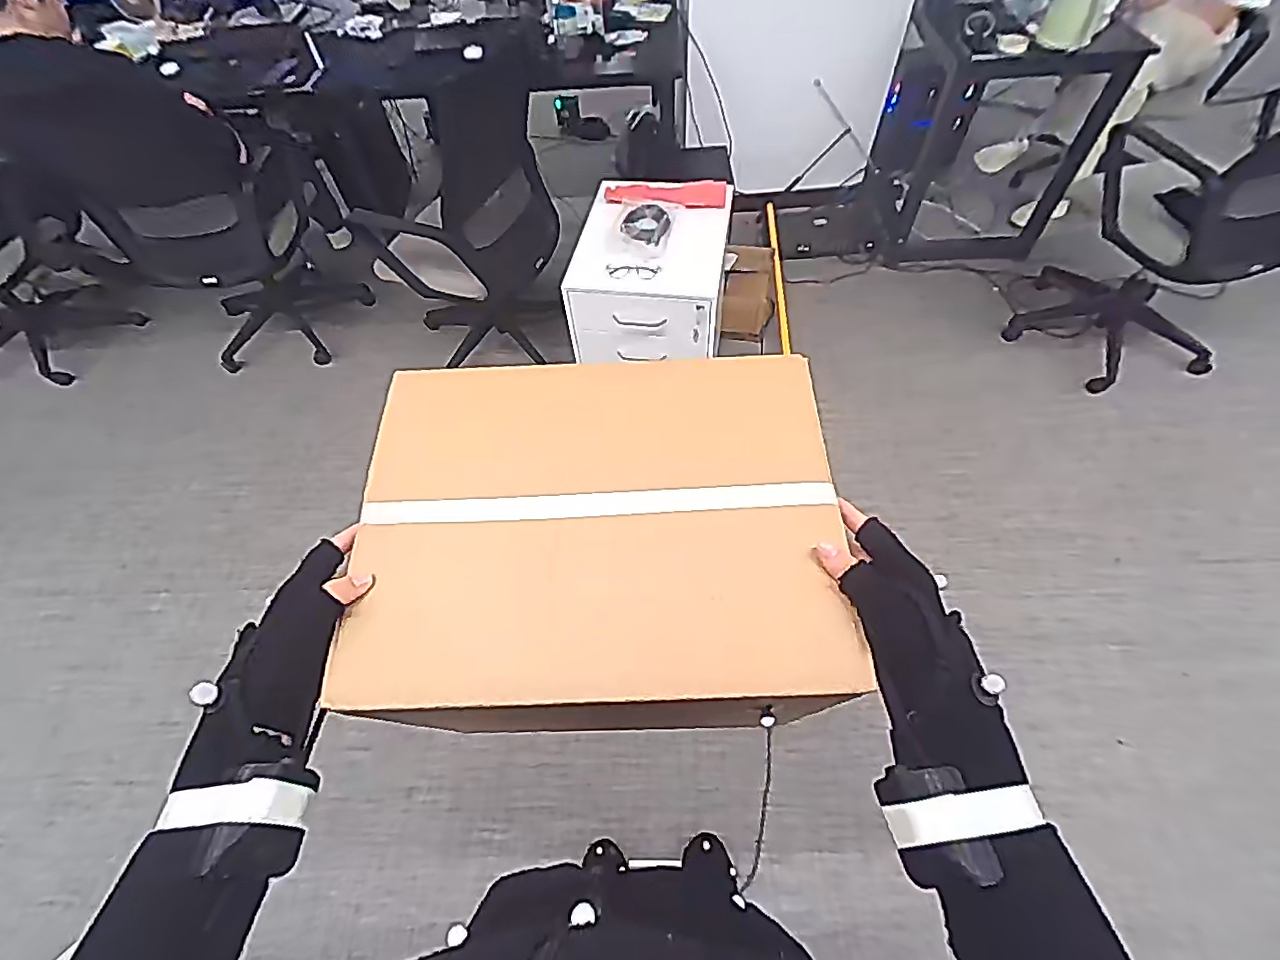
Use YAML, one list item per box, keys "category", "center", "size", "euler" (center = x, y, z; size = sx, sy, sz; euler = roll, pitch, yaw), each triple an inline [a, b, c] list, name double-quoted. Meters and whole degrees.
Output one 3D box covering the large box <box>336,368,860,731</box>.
- category: "large box"
  center: [-0.032, 0.100, 0.604]
  size: [0.408, 0.320, 0.320]
  euler: [-2, 62, 0]
